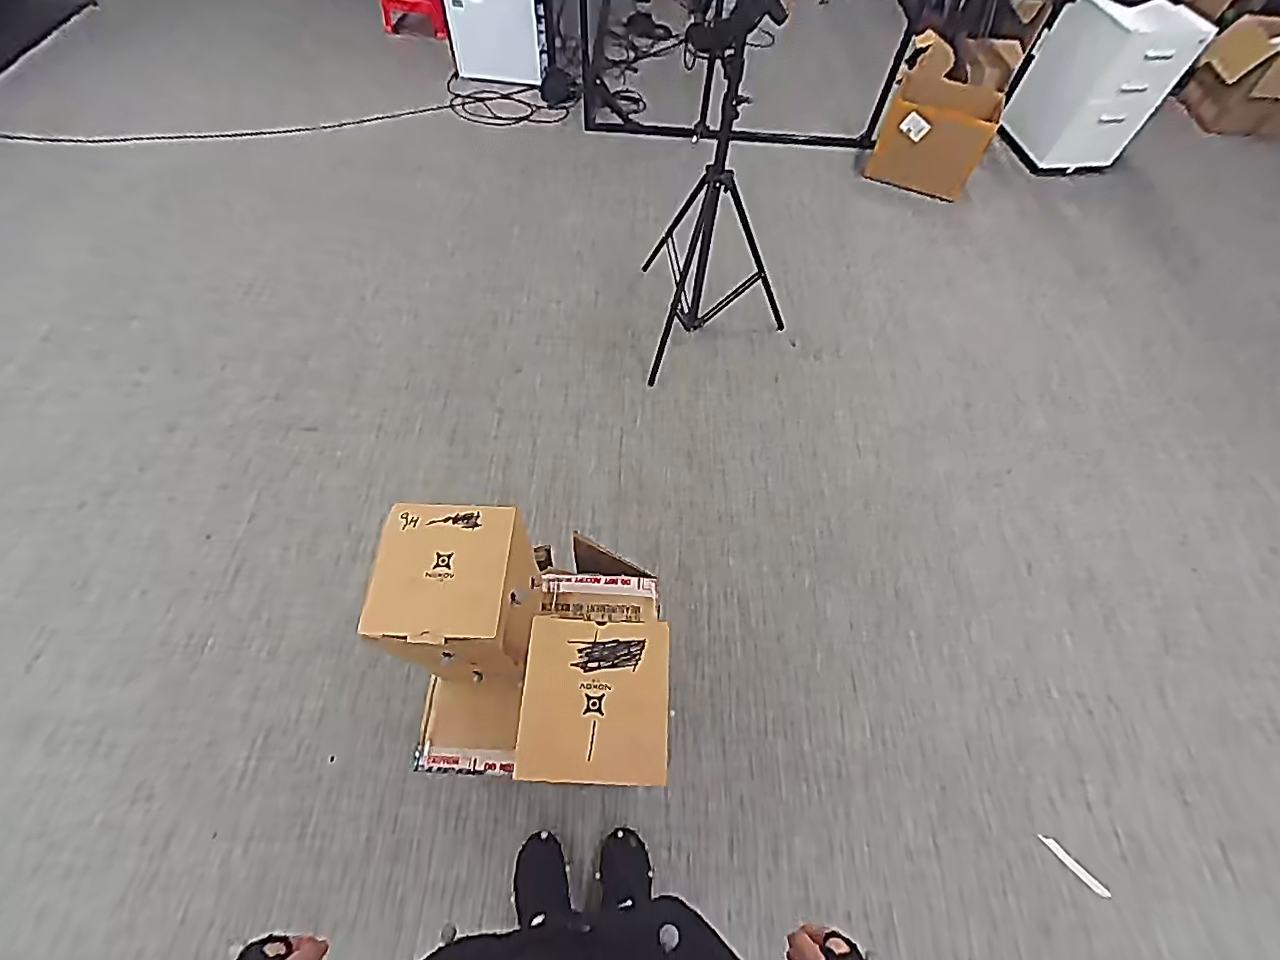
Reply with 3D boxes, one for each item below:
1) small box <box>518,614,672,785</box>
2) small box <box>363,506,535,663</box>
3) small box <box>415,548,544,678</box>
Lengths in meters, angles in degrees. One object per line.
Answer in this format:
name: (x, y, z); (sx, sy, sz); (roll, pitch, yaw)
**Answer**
small box: (-0.050, 0.281, 0.684); (0.168, 0.176, 0.179); (3, 62, -1)
small box: (-0.245, 0.151, 0.745); (0.168, 0.176, 0.179); (2, 62, 0)
small box: (-0.254, 0.222, 0.894); (0.168, 0.176, 0.179); (0, 62, -1)
